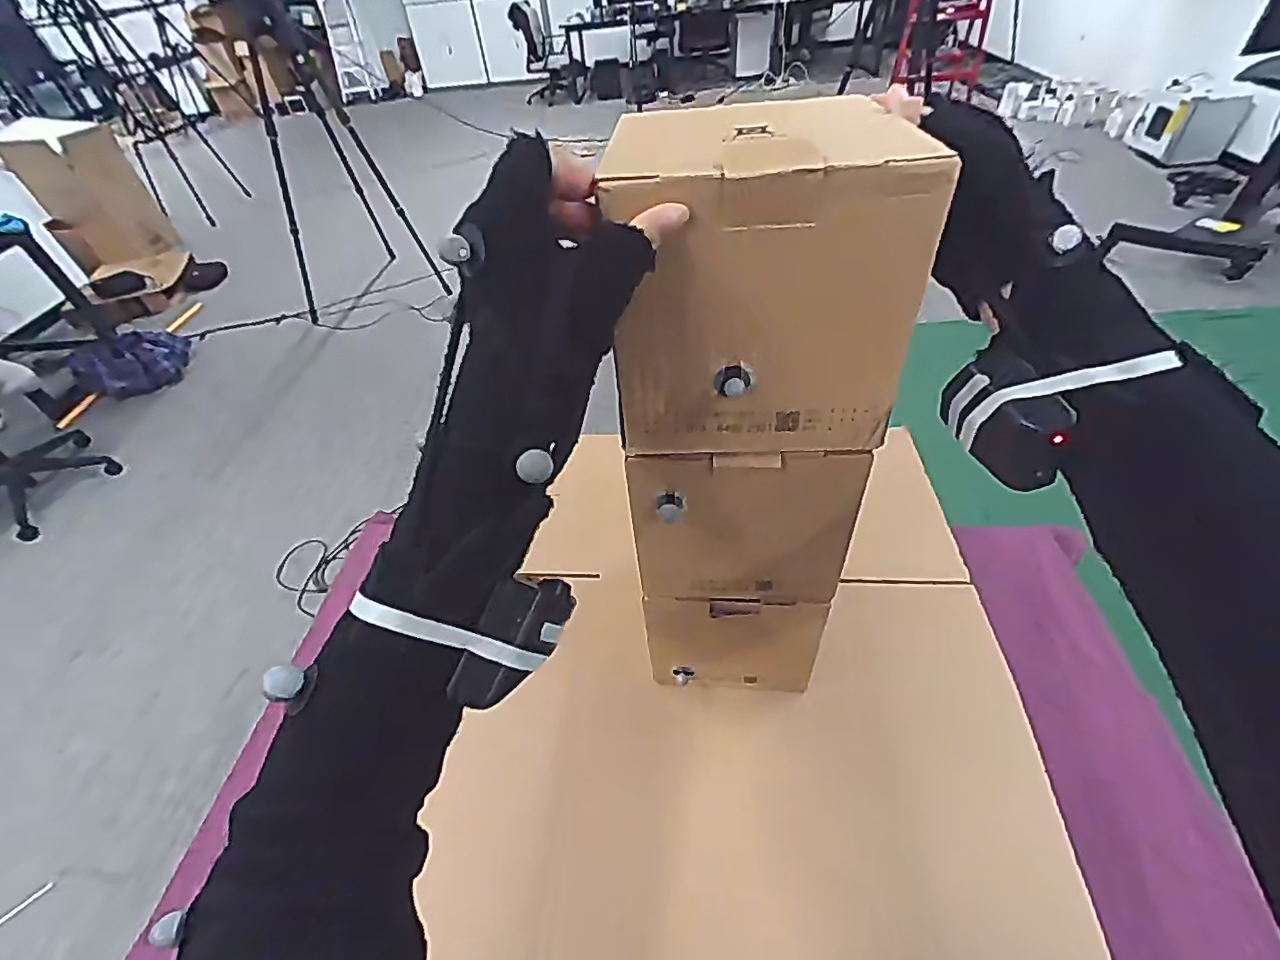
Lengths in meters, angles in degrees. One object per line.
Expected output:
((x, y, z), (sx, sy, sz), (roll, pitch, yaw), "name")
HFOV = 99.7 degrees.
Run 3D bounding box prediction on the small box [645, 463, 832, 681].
((0.097, 0.103, 0.584), (0.168, 0.176, 0.179), (-2, 46, 5), "small box")
